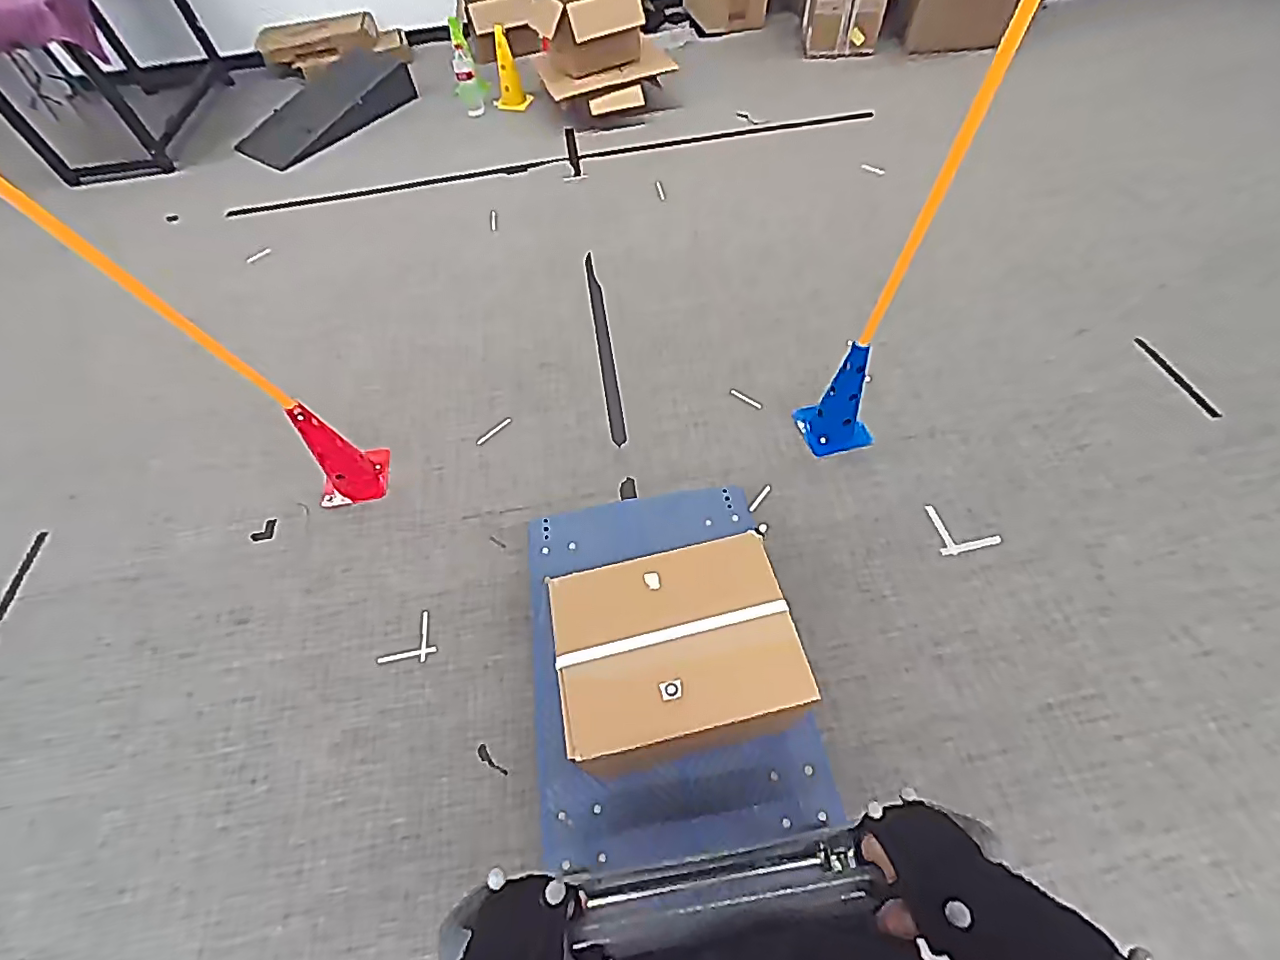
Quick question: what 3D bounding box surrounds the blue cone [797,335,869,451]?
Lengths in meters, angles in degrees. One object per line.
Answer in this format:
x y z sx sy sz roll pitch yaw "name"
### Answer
0.613 -0.268 1.608 0.193 0.380 0.192 -13 56 -5 "blue cone"
